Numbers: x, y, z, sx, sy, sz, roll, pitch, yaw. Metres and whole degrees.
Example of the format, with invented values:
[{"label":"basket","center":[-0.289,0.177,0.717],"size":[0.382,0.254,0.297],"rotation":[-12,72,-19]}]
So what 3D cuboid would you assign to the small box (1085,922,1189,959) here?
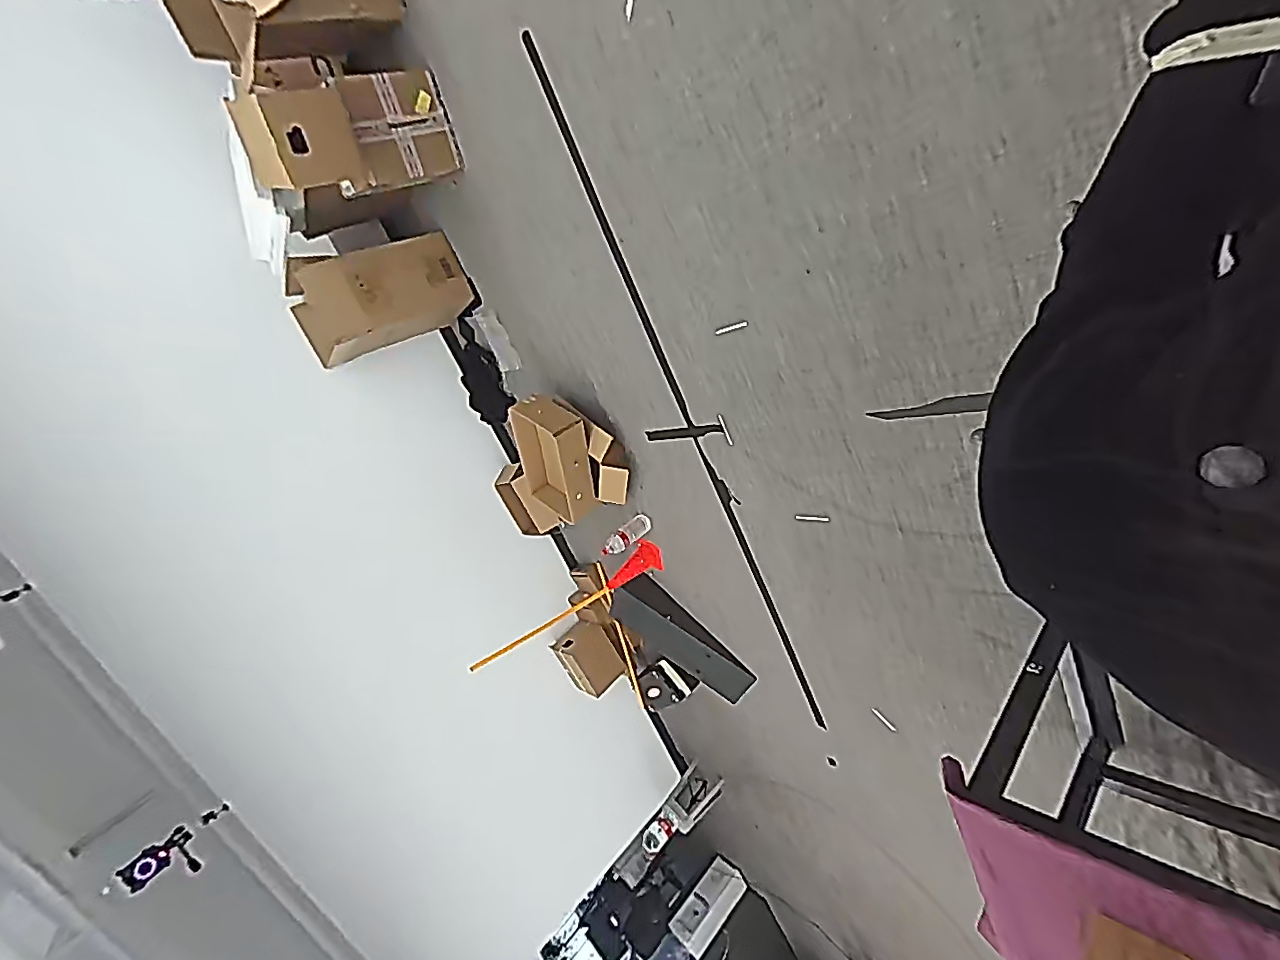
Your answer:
[{"label":"small box","center":[0.931,0.965,0.986],"size":[0.179,0.176,0.168],"rotation":[1,122,53]}]
